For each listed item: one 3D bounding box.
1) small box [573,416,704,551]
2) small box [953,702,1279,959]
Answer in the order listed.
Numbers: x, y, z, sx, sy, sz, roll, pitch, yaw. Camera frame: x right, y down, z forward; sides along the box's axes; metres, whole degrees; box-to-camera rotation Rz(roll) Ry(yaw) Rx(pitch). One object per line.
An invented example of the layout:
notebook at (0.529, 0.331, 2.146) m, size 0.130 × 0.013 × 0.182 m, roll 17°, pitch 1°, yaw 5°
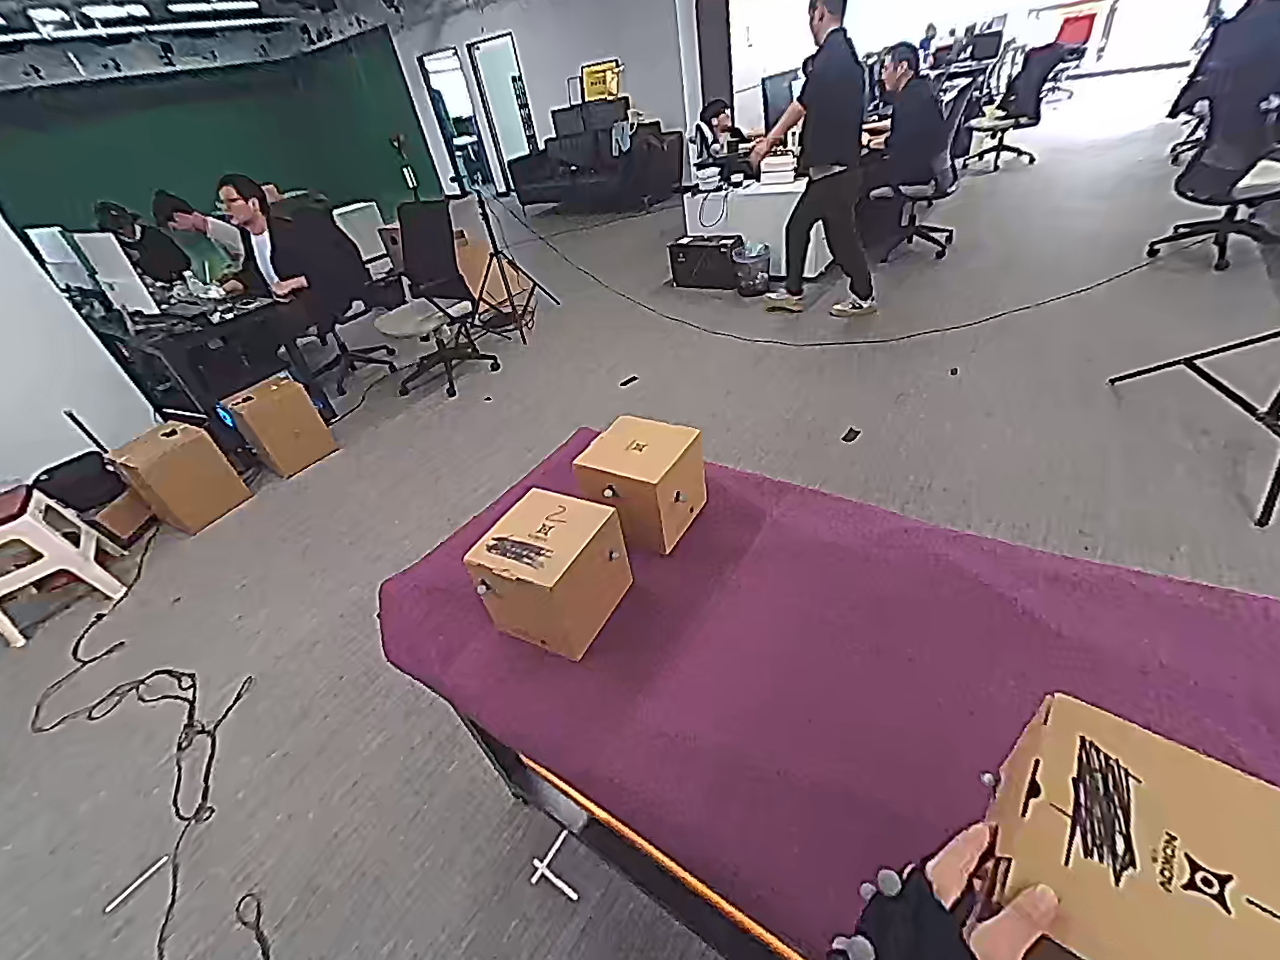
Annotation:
small box at (0.008, 0.007, 1.000) m, size 0.179 × 0.176 × 0.168 m, roll 14°, pitch 44°, yaw 29°
small box at (0.354, 0.307, 0.394) m, size 0.179 × 0.176 × 0.168 m, roll 21°, pitch 55°, yaw 33°
